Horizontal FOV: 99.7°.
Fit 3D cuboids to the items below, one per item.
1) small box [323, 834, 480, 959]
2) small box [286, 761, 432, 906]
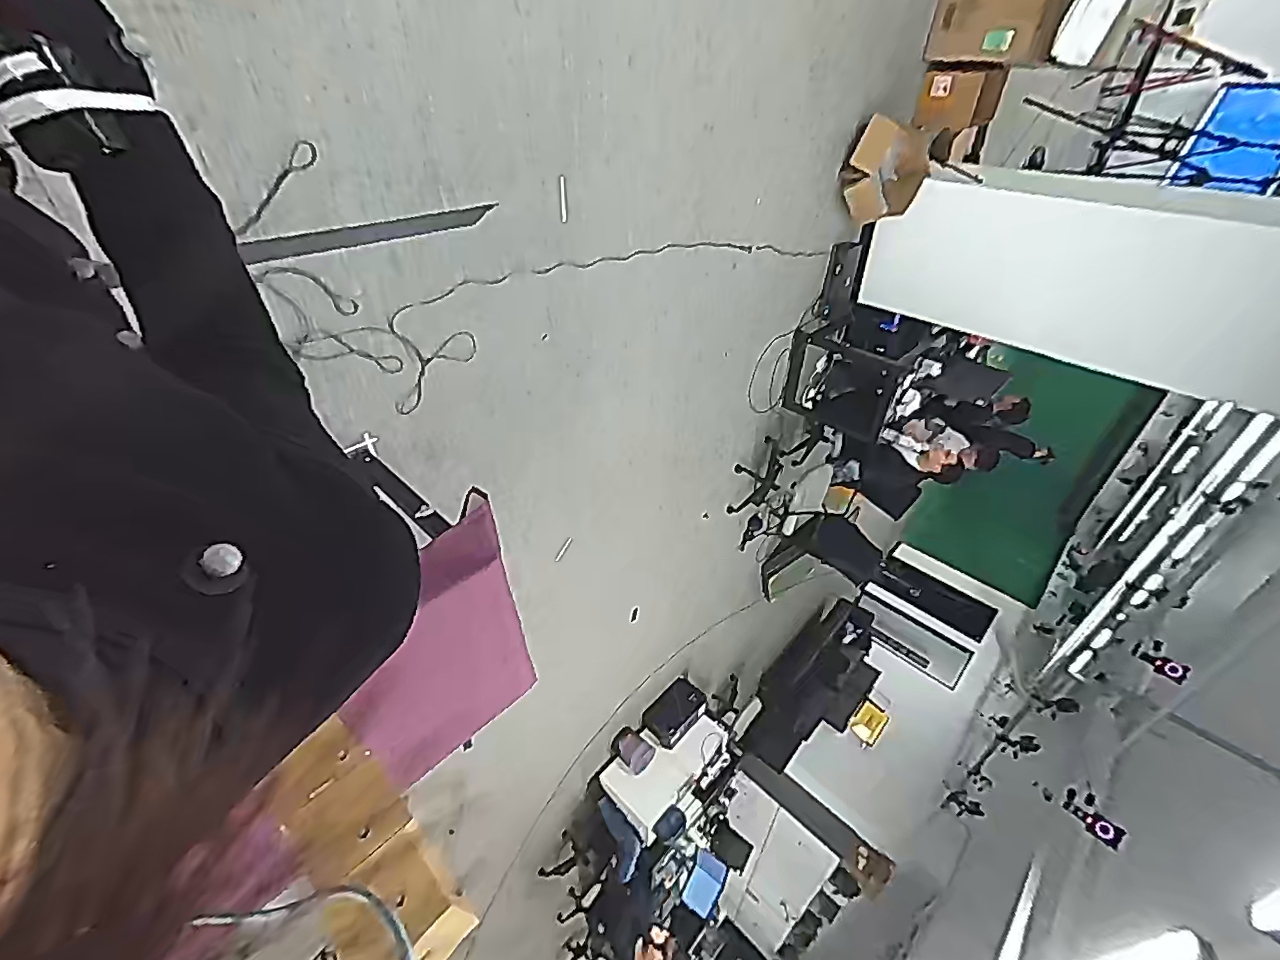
[{"bbox_3d":[-0.419,0.772,0.957,0.168,0.176,0.179,-38,143,-30],"label":"small box"},{"bbox_3d":[-0.534,0.686,1.037,0.179,0.176,0.168,-31,138,-36],"label":"small box"}]
